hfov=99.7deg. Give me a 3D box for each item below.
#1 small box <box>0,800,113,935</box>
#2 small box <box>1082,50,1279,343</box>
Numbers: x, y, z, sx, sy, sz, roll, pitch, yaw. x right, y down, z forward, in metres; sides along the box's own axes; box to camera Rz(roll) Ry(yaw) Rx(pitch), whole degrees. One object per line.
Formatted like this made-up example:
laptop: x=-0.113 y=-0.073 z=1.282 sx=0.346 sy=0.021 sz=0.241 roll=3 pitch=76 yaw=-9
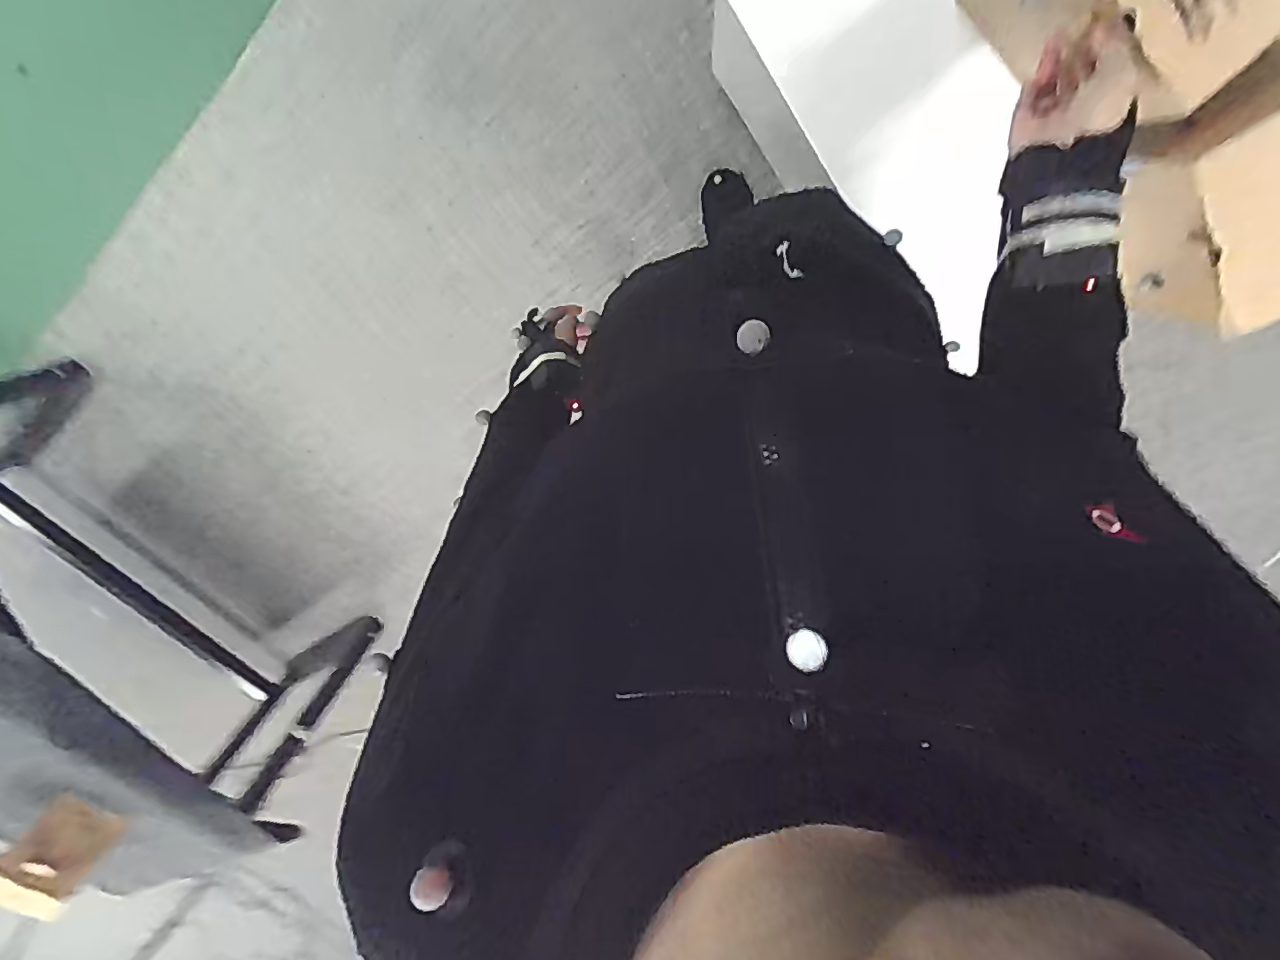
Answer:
small box: x=-1.328 y=0.848 z=1.188 sx=0.168 sy=0.176 sz=0.179 roll=42 pitch=116 yaw=-15
small box: x=0.540 y=-0.253 z=0.478 sx=0.179 sy=0.176 sz=0.168 roll=-29 pitch=113 yaw=21
